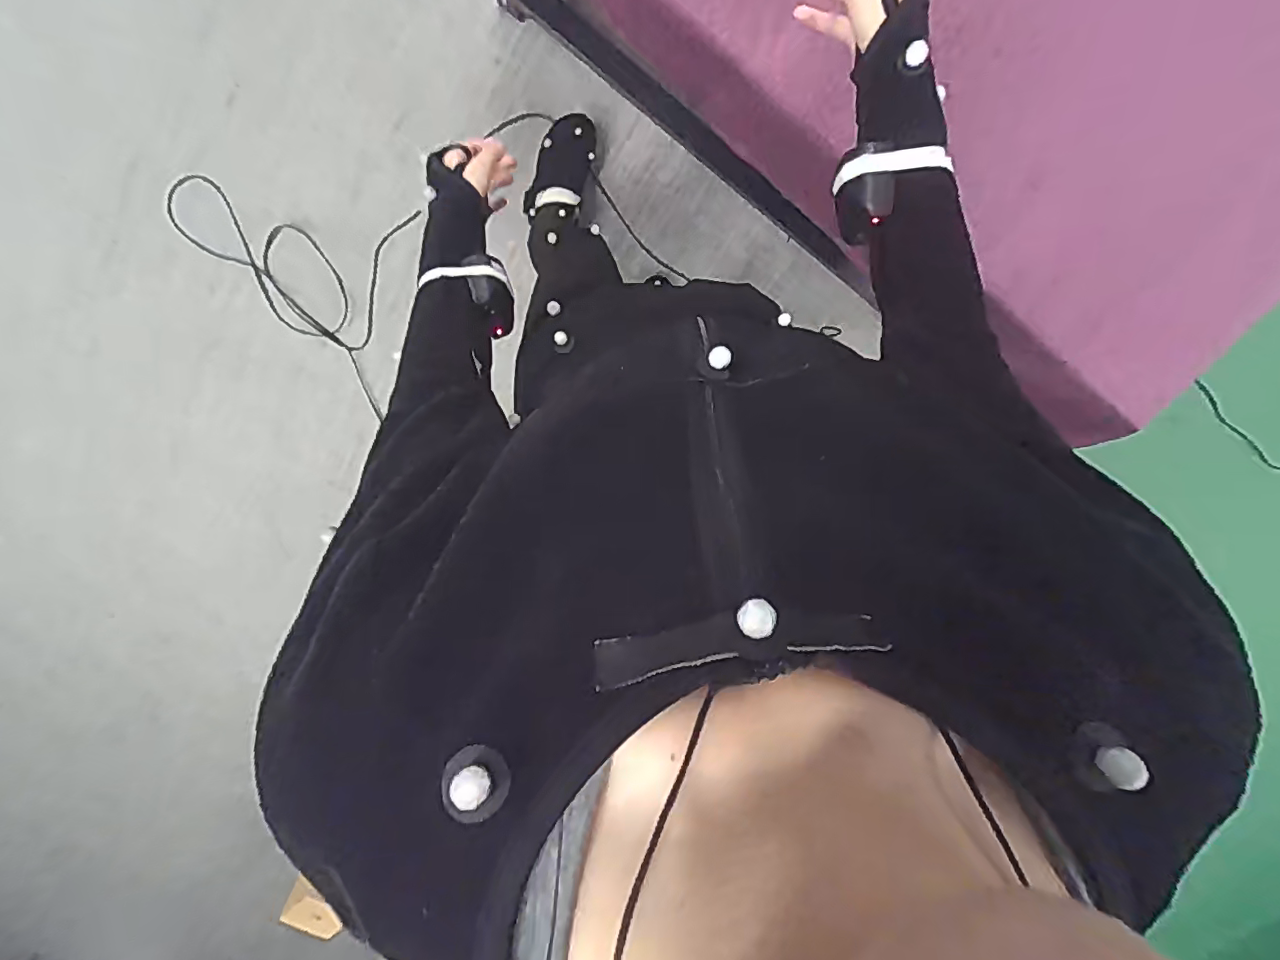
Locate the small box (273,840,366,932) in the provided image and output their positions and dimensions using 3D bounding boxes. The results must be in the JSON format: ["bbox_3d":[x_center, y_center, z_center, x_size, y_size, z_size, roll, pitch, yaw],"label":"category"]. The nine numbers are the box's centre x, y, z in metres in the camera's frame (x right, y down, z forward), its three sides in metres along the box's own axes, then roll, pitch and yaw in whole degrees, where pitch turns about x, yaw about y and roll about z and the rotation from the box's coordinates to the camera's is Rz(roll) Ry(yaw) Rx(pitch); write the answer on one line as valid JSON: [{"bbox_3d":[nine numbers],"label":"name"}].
[{"bbox_3d":[-1.051,1.341,1.791,0.168,0.176,0.179,-42,110,13],"label":"small box"}]
